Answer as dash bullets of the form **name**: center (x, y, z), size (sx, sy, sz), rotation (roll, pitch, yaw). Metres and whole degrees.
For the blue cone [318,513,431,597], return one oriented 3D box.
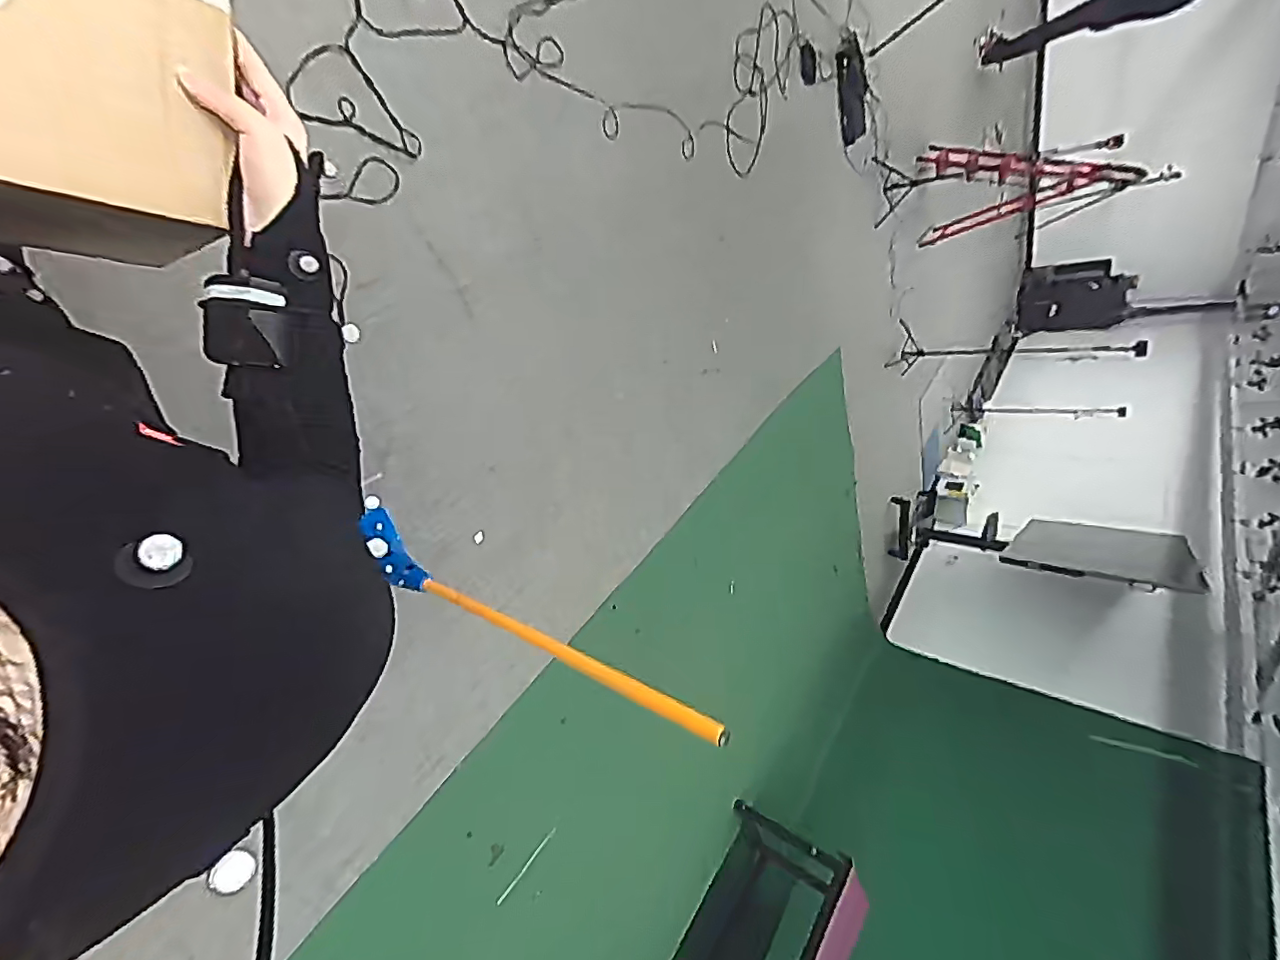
- **blue cone**: center (-0.654, 0.227, 1.400), size (0.193, 0.380, 0.192), rotation (-35, 124, -40)

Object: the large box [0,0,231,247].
- **large box**: center (-0.547, -0.361, 0.329), size (0.408, 0.320, 0.320), rotation (-8, 106, -50)
